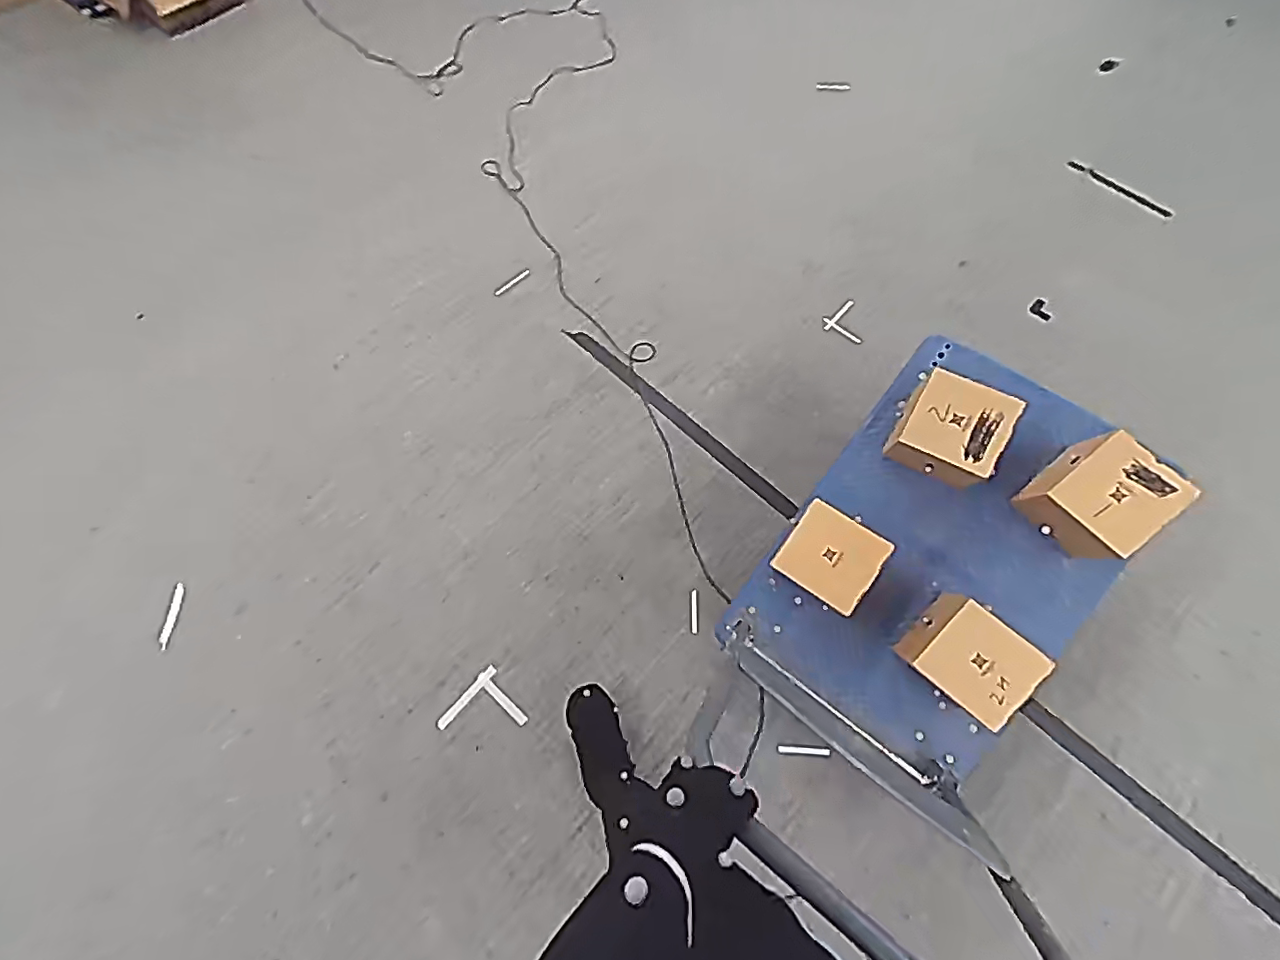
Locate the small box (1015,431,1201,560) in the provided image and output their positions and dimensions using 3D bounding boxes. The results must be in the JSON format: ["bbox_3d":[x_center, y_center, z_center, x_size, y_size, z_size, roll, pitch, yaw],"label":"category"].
[{"bbox_3d":[0.879,0.035,1.040,0.179,0.176,0.168,-44,76,5],"label":"small box"}]

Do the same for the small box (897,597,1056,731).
[{"bbox_3d":[0.635,0.344,1.052,0.179,0.176,0.168,41,93,15],"label":"small box"}]

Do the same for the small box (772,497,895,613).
[{"bbox_3d":[0.392,0.157,1.134,0.179,0.176,0.168,34,90,13],"label":"small box"}]
